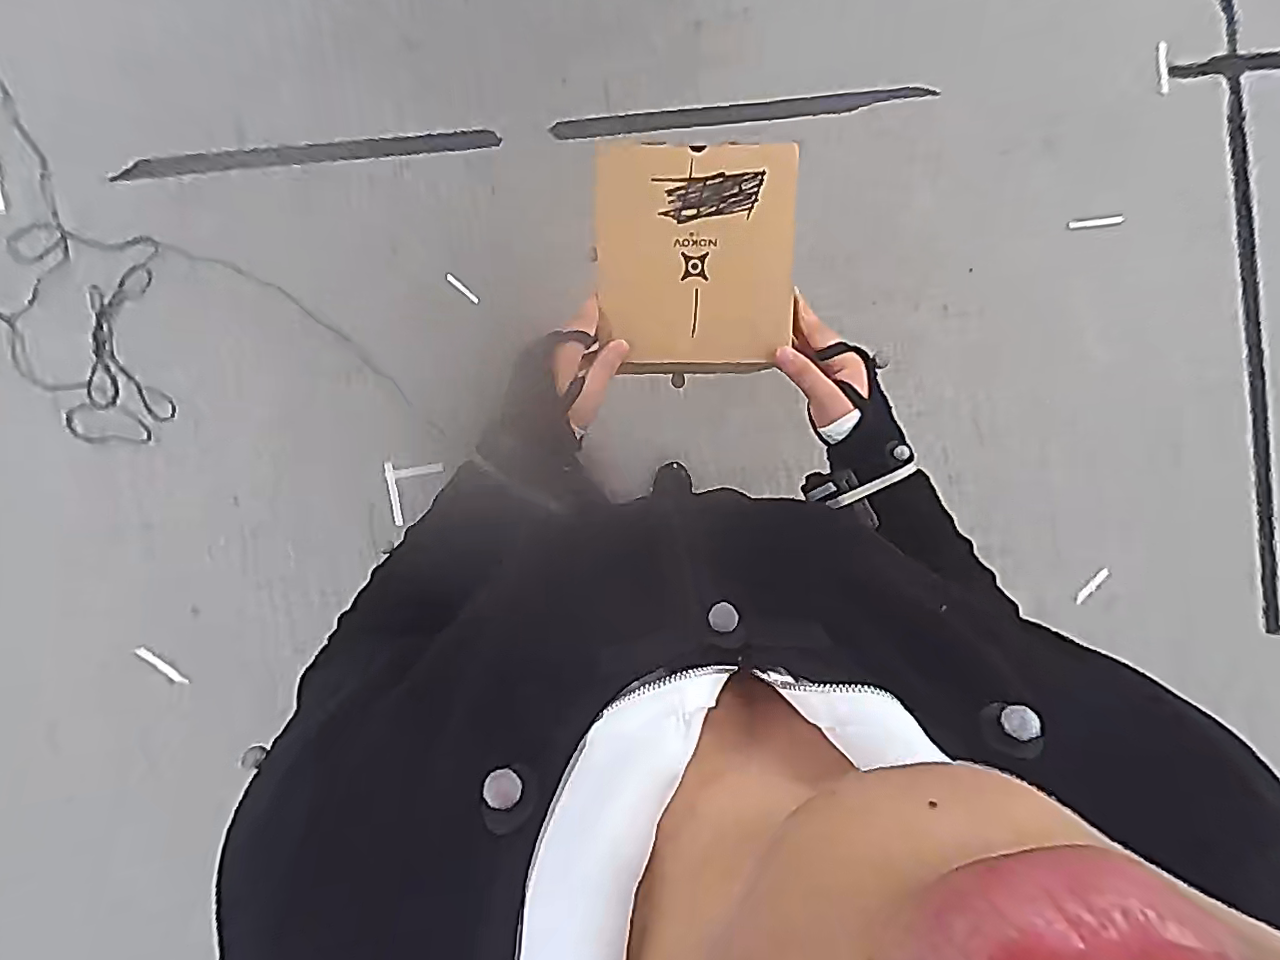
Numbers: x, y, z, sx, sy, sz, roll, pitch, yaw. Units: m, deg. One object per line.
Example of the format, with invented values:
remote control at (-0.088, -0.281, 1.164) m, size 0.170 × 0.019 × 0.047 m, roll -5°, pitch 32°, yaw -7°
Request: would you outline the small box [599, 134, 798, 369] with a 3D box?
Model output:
small box at (0.046, -0.203, 0.525) m, size 0.168 × 0.176 × 0.179 m, roll 0°, pitch 99°, yaw 0°
